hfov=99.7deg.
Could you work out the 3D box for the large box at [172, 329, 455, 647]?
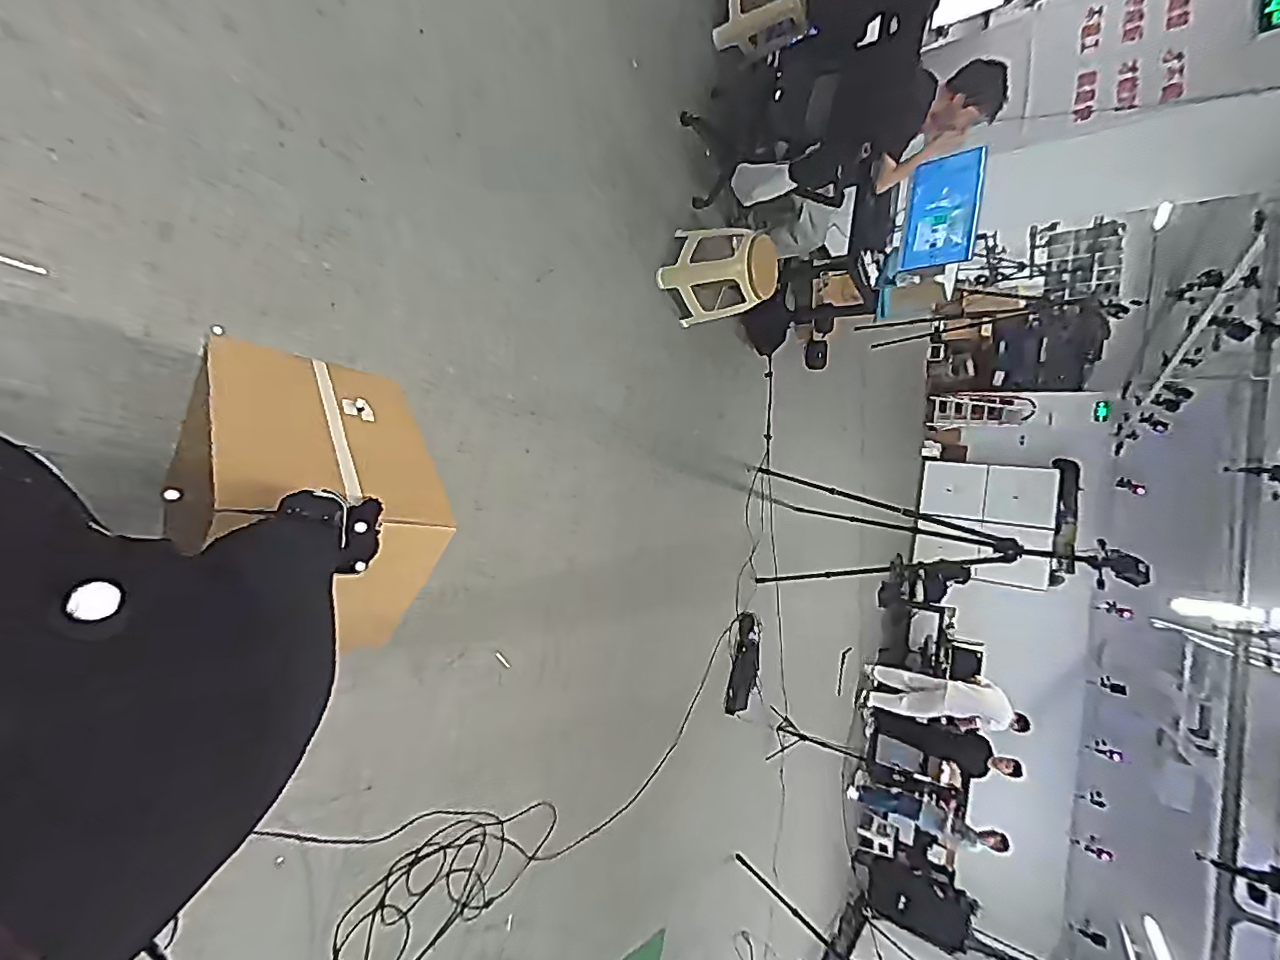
[{"bbox_3d":[-0.575,0.017,0.925,0.320,0.408,0.320,12,124,-47],"label":"large box"}]
